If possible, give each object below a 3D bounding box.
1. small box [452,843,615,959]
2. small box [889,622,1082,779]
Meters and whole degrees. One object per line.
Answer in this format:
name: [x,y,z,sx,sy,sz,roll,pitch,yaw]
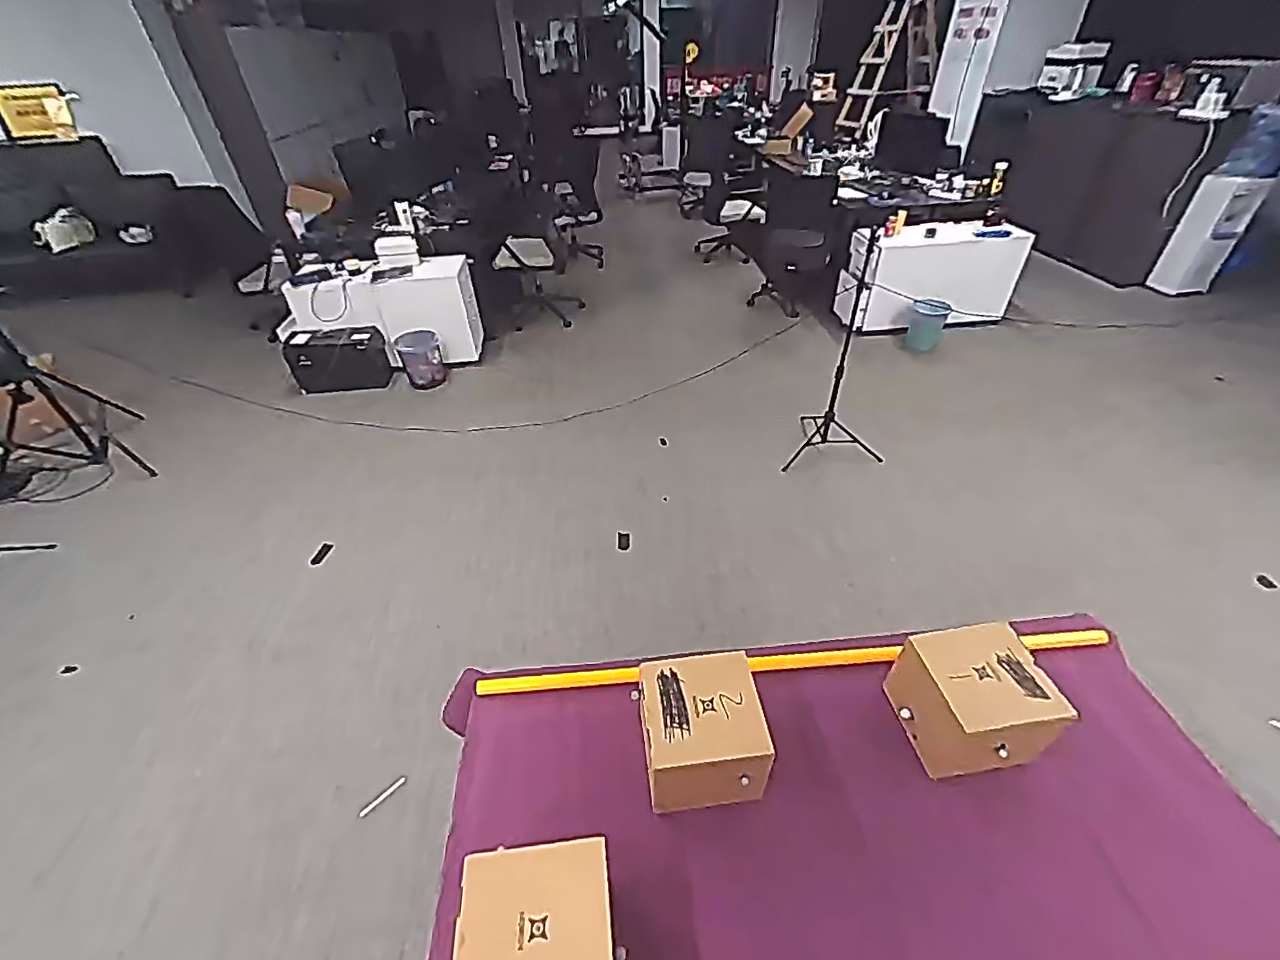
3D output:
small box: [-0.118,0.568,0.651,0.179,0.176,0.168,-5,39,-5]
small box: [0.537,0.356,0.871,0.179,0.176,0.168,-8,41,-4]
